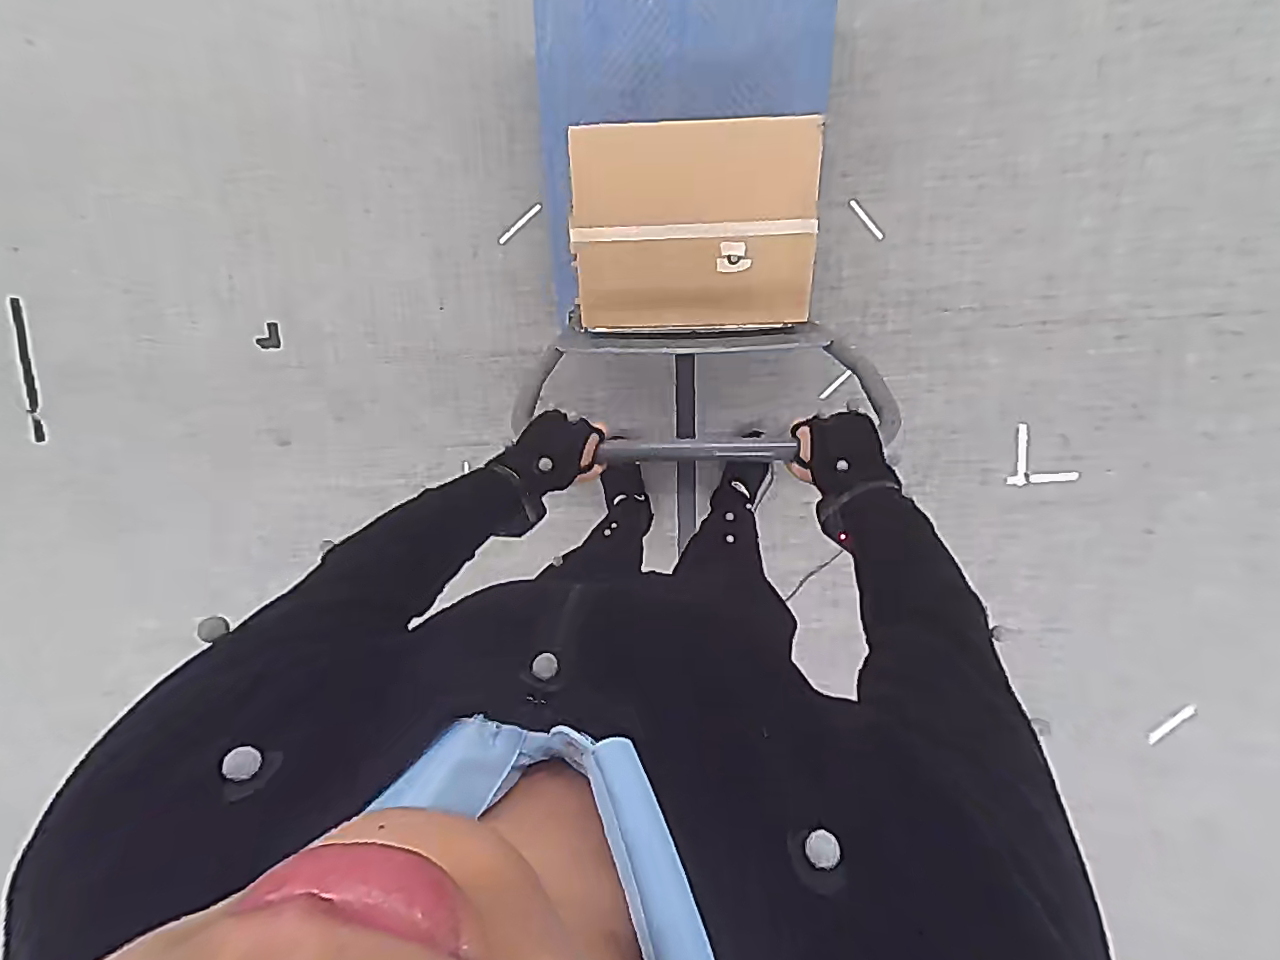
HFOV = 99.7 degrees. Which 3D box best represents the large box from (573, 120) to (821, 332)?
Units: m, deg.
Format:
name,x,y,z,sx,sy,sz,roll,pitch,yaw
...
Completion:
name,x,y,z,sx,sy,sz,roll,pitch,yaw
large box,0.099,-0.480,1.059,0.408,0.320,0.320,-2,115,2
